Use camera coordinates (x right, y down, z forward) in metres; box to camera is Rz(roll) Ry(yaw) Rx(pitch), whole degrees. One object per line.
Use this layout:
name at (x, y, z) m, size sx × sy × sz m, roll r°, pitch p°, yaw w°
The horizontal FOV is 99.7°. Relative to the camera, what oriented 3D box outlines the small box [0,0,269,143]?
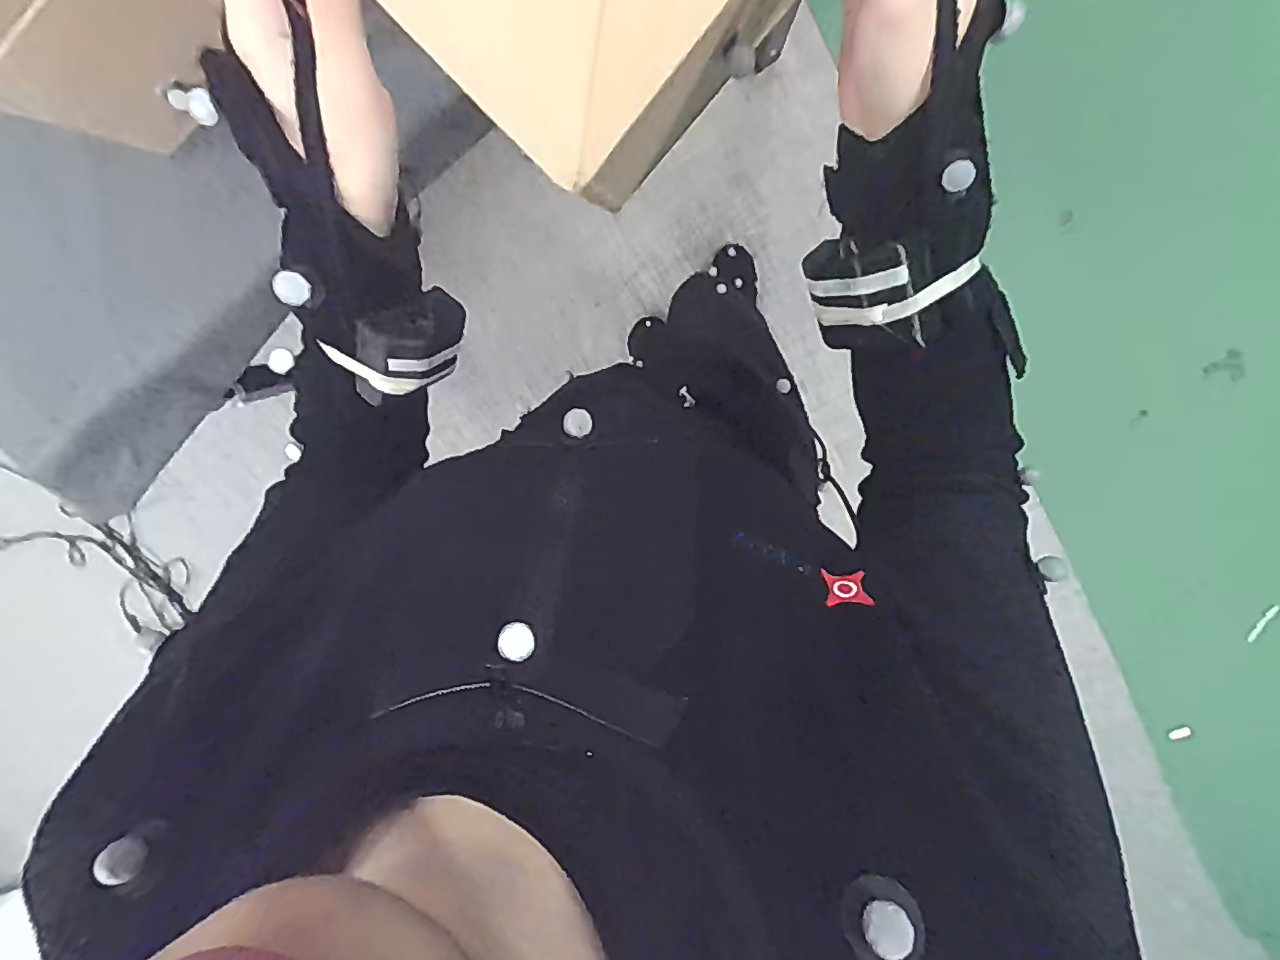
small box at (-0.462, -0.416, 0.432) m, size 0.168 × 0.176 × 0.179 m, roll -31°, pitch 104°, yaw 14°
